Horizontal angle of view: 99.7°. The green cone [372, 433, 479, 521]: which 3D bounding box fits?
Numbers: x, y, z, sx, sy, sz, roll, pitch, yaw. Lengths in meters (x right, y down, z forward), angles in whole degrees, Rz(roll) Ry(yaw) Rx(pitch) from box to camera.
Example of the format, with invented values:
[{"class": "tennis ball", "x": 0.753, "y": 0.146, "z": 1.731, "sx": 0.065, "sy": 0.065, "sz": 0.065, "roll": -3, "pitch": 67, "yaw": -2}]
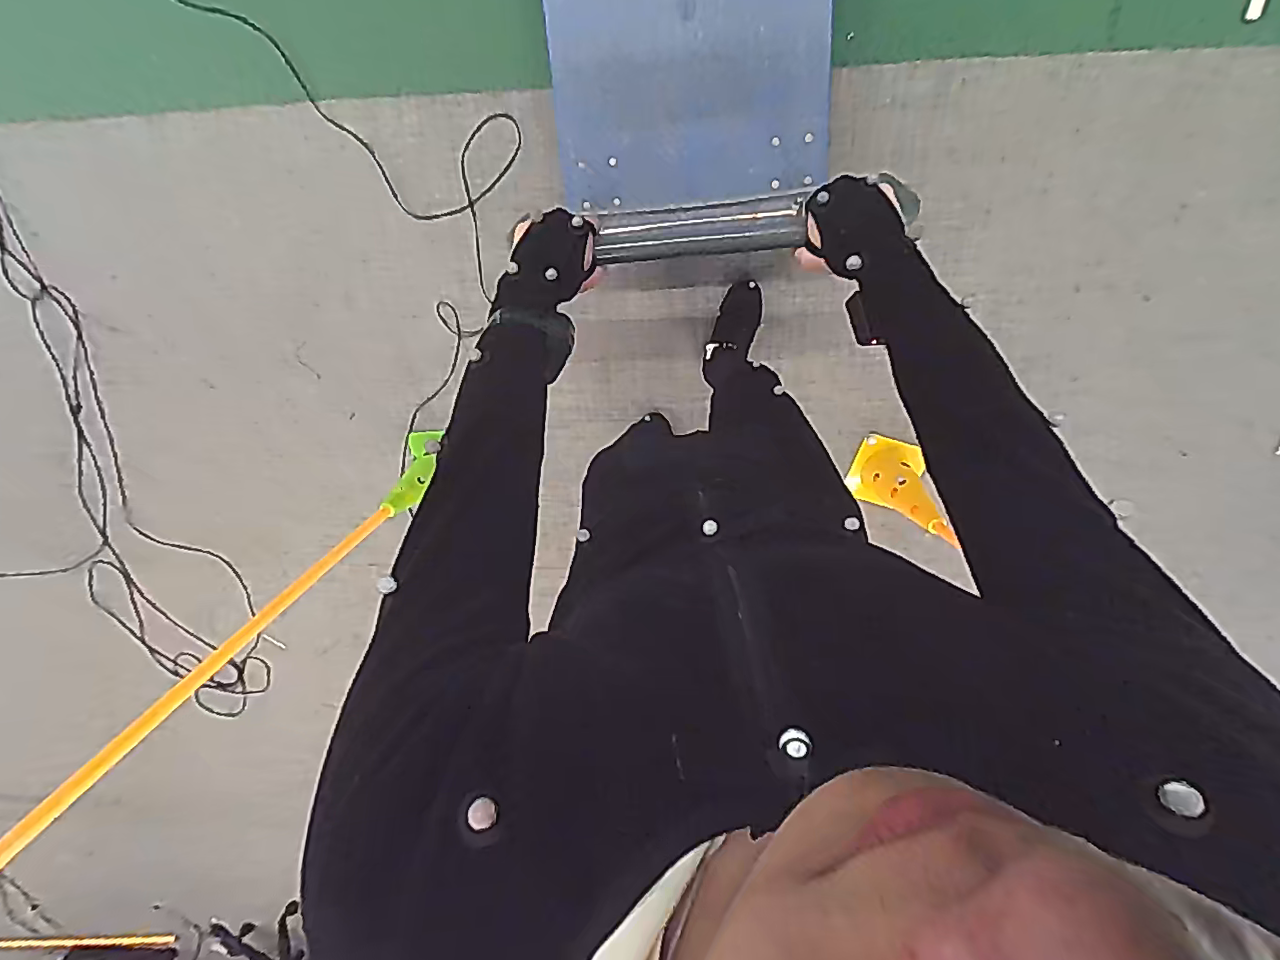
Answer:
[{"class": "green cone", "x": -0.627, "y": 0.015, "z": 1.514, "sx": 0.202, "sy": 0.368, "sz": 0.200, "roll": -3, "pitch": 111, "yaw": 8}]
